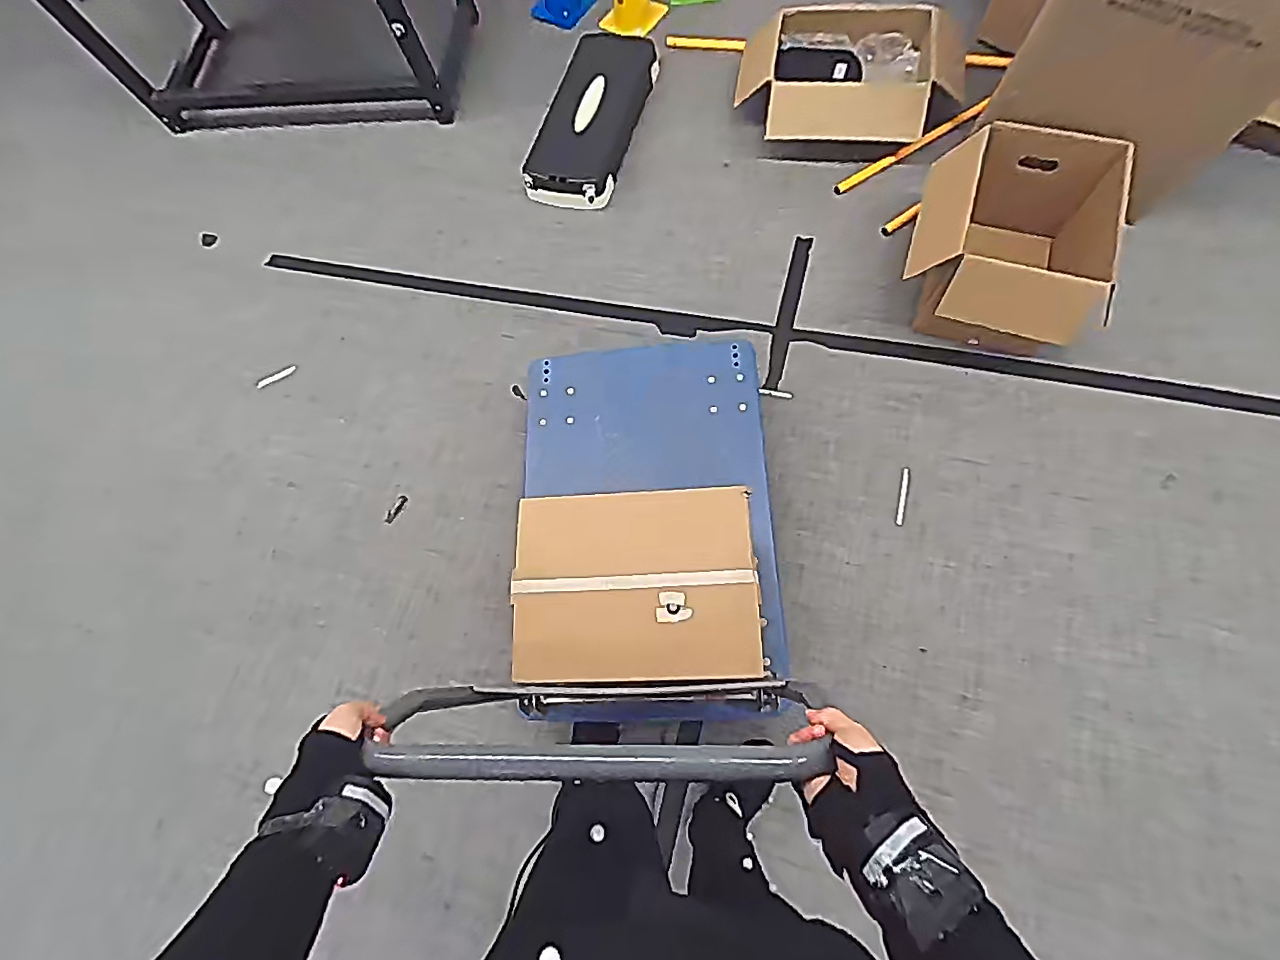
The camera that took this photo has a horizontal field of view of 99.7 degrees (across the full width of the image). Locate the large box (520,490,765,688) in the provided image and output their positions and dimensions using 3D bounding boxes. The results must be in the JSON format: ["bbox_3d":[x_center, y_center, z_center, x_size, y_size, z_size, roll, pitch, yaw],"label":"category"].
[{"bbox_3d":[0.007,0.223,1.051,0.408,0.320,0.320,-4,72,5],"label":"large box"}]
